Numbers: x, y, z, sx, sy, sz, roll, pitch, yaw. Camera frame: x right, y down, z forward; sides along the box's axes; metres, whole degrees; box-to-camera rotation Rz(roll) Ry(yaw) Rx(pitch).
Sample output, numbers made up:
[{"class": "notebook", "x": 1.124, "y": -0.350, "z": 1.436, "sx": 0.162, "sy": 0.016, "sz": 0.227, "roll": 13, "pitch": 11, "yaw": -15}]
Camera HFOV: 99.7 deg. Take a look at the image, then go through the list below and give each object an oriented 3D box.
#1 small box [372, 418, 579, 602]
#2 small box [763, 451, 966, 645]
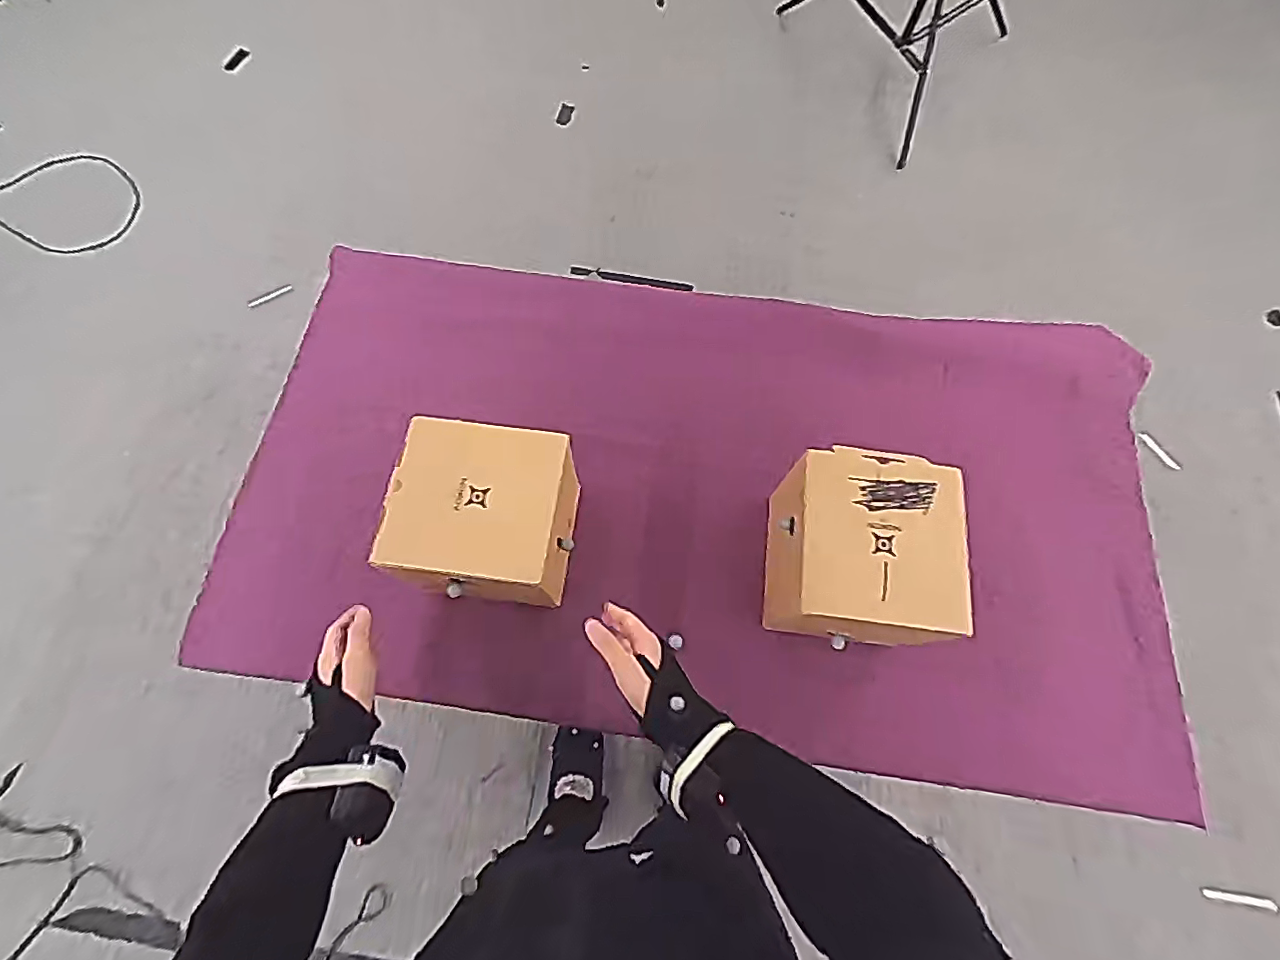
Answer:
[{"class": "small box", "x": -0.173, "y": 0.046, "z": 0.637, "sx": 0.179, "sy": 0.176, "sz": 0.168, "roll": 7, "pitch": 70, "yaw": 2}, {"class": "small box", "x": 0.244, "y": 0.087, "z": 0.626, "sx": 0.168, "sy": 0.176, "sz": 0.179, "roll": 7, "pitch": 70, "yaw": 2}]
